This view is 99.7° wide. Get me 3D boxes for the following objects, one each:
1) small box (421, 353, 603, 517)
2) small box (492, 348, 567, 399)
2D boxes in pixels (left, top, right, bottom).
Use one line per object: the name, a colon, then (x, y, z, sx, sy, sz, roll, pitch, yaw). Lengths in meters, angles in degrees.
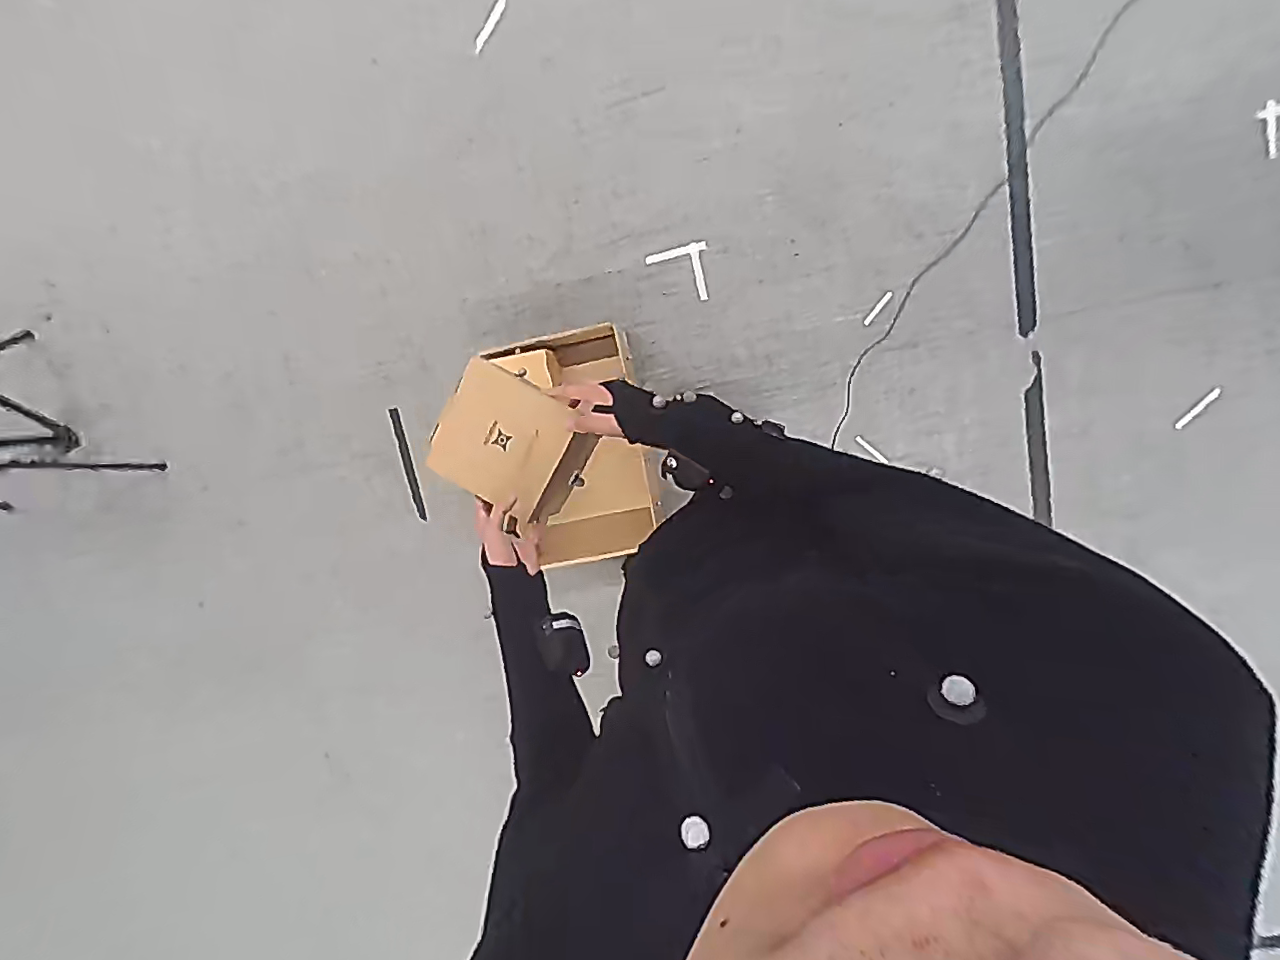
small box: (-0.176, -0.061, 0.797, 0.179, 0.176, 0.168, 29, 95, 5)
small box: (-0.310, -0.260, 1.490, 0.179, 0.176, 0.168, -11, 99, 4)
